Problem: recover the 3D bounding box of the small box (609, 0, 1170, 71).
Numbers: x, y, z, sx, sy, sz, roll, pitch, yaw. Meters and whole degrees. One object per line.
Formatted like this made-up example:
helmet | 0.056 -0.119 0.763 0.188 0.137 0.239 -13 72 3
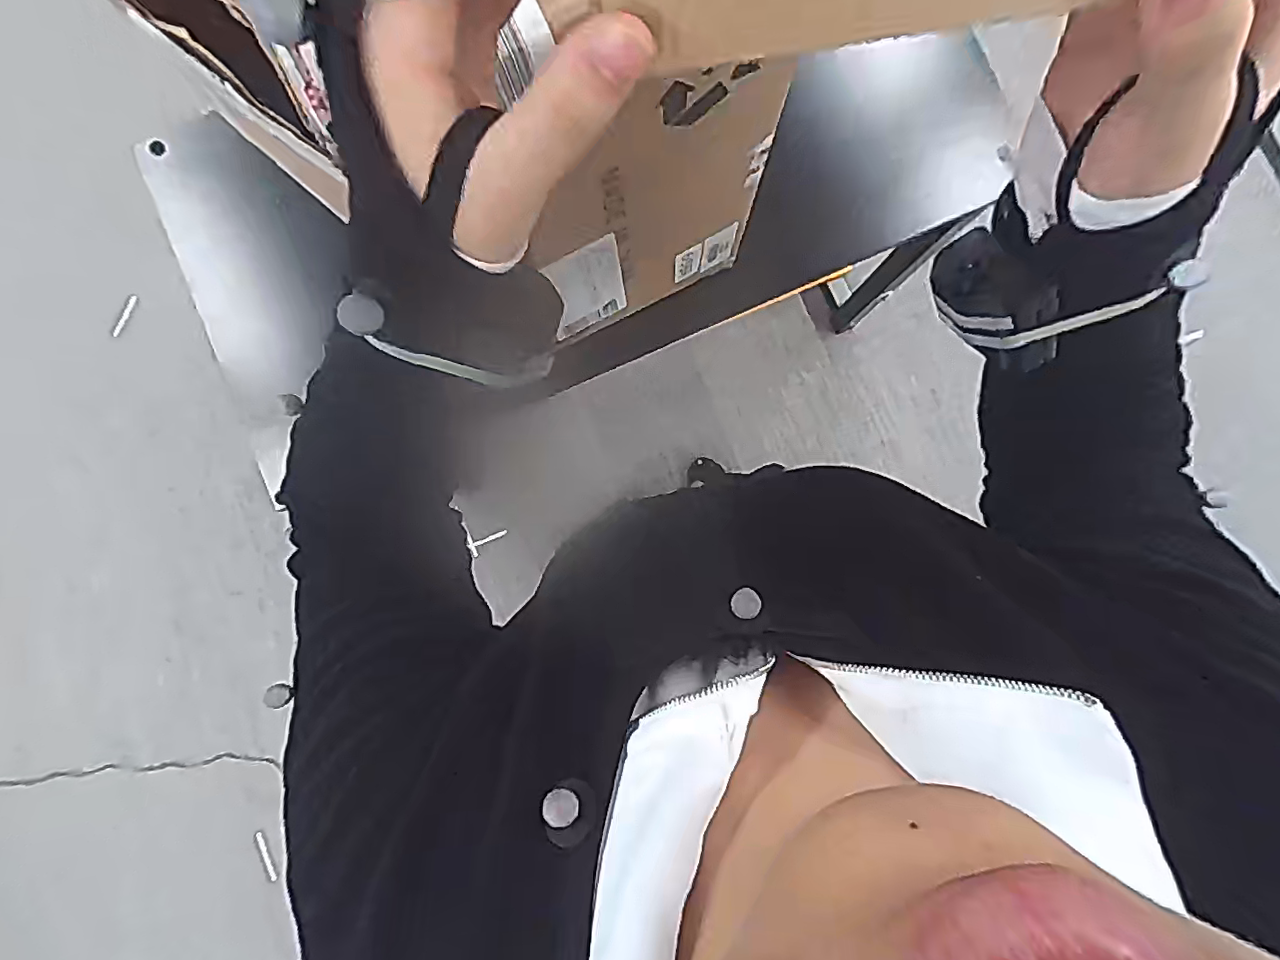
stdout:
small box | 0.058 -0.241 0.136 0.168 0.179 0.176 -8 52 0
